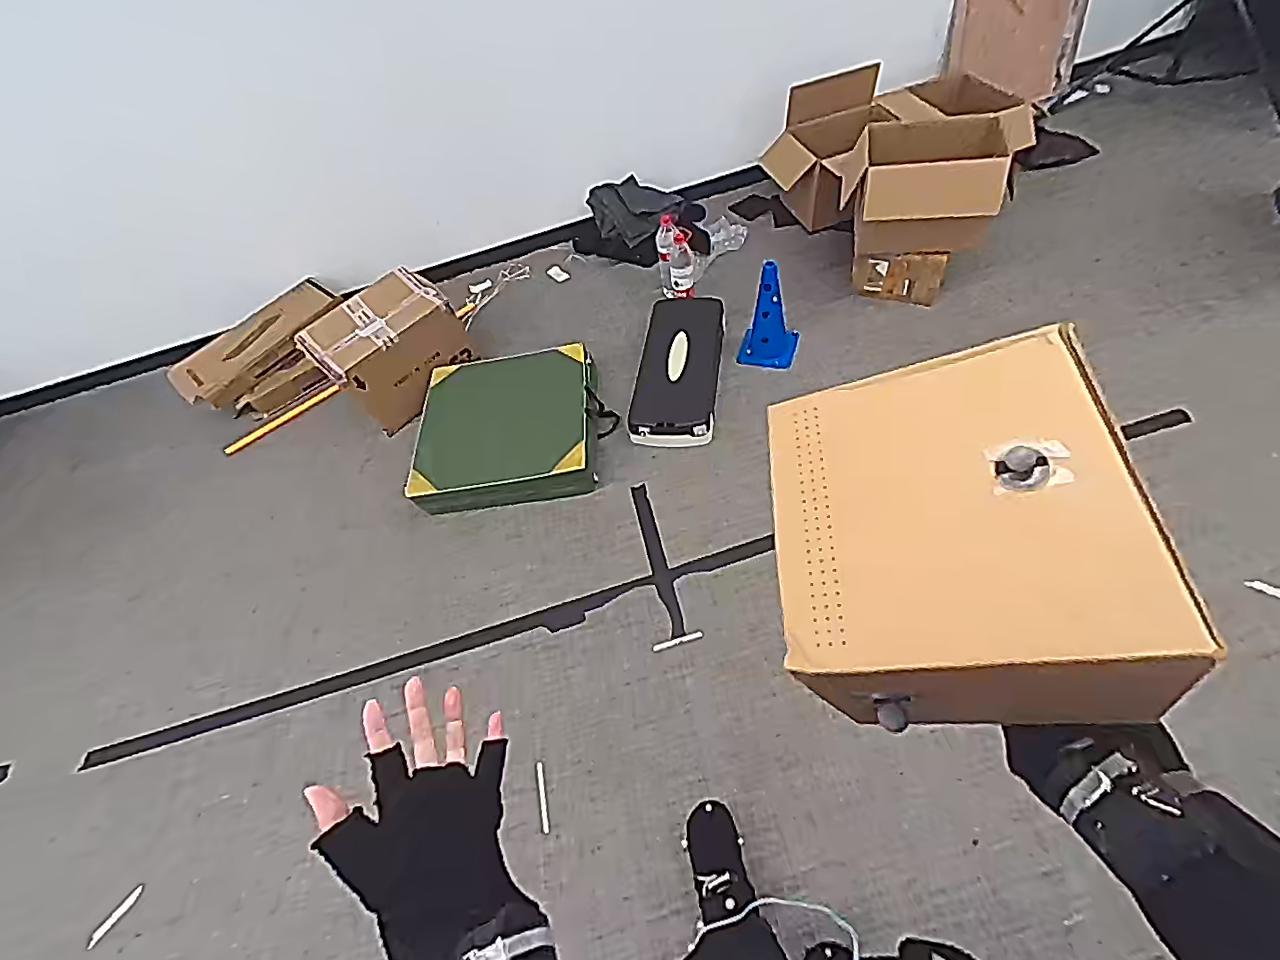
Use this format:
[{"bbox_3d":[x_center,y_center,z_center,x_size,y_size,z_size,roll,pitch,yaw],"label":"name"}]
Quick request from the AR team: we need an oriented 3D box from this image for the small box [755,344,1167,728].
[{"bbox_3d":[0.180,0.052,0.348,0.176,0.168,0.179,-16,53,29],"label":"small box"}]
